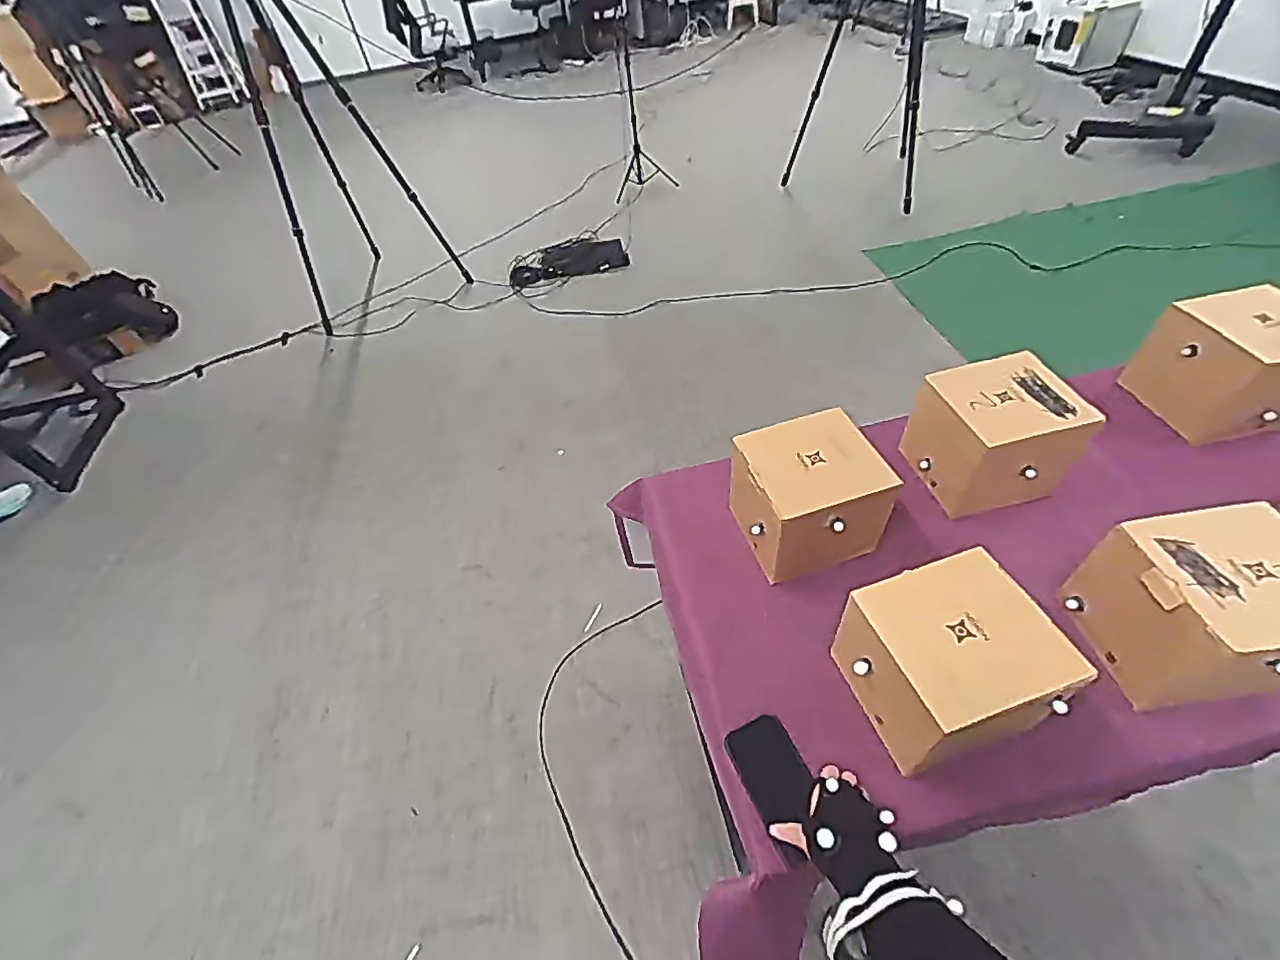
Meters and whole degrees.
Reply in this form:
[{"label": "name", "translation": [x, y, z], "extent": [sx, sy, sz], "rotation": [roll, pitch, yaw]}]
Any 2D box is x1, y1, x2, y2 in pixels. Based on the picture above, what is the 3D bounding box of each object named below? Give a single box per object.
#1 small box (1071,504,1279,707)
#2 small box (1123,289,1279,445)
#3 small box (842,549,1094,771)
[{"label": "small box", "translation": [0.666, 0.154, 0.643], "extent": [0.179, 0.176, 0.168], "rotation": [-8, 48, 0]}, {"label": "small box", "translation": [0.971, -0.184, 0.892], "extent": [0.168, 0.176, 0.179], "rotation": [-11, 49, 0]}, {"label": "small box", "translation": [0.358, 0.215, 0.638], "extent": [0.179, 0.176, 0.168], "rotation": [-17, 48, -8]}]
